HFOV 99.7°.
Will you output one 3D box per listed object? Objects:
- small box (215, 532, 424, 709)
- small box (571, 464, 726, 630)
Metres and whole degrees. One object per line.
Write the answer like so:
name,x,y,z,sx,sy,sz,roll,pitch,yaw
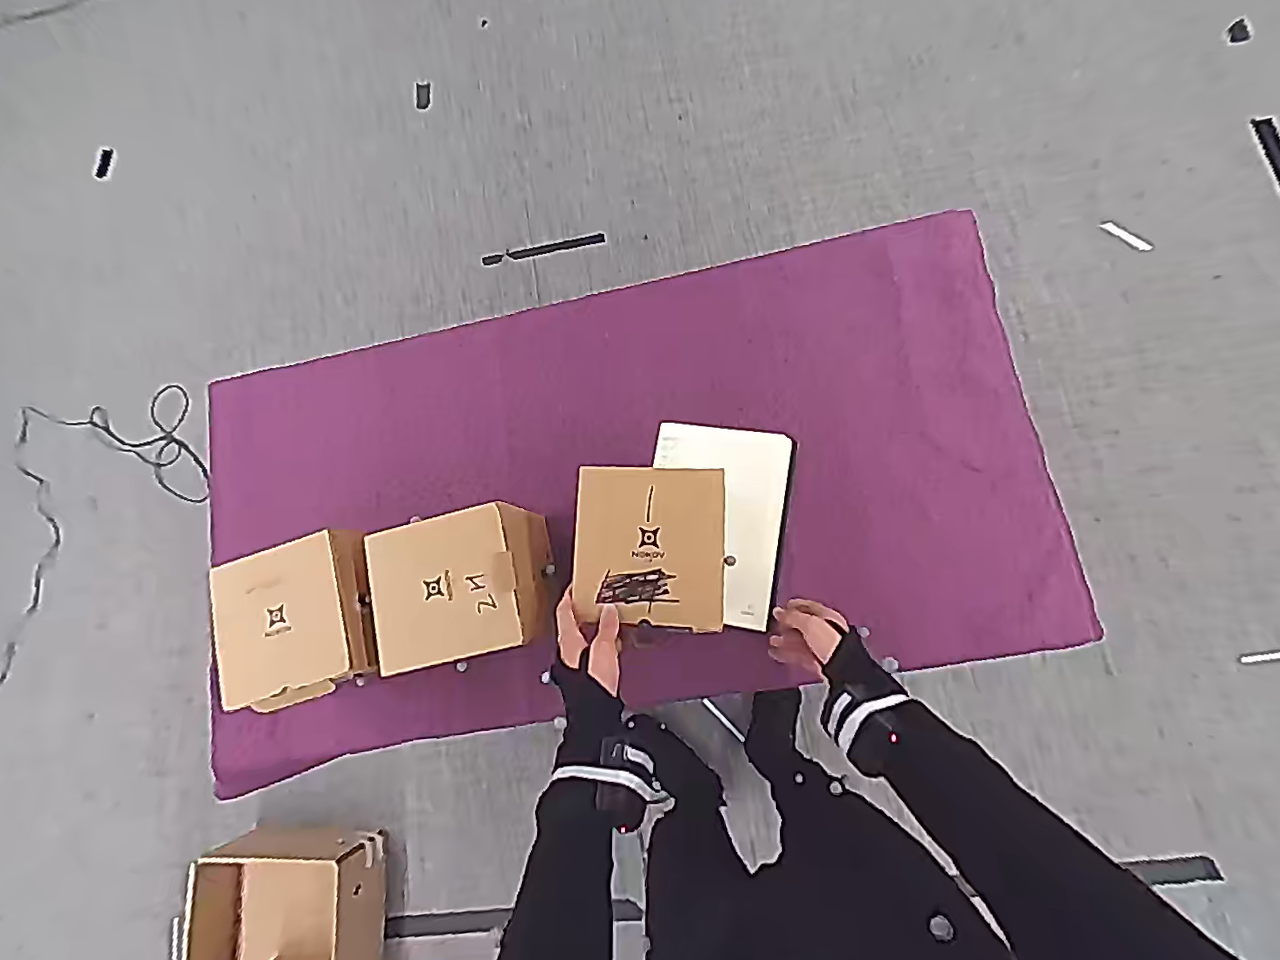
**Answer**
small box,-0.415,0.180,0.723,0.168,0.176,0.179,-18,77,4
small box,0.021,0.081,0.665,0.168,0.176,0.179,1,81,9
